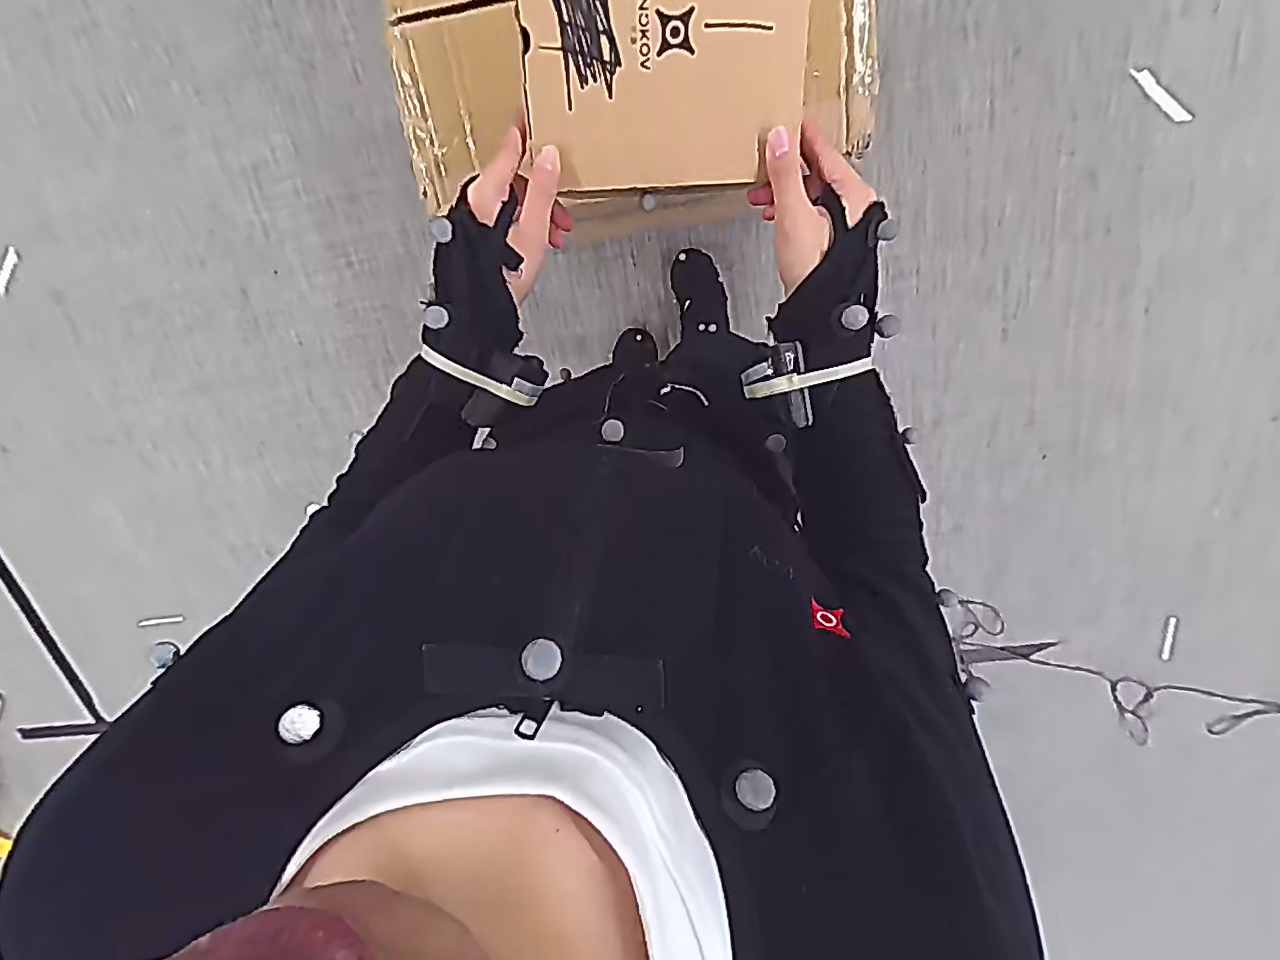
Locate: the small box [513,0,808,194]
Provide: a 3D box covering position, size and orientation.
[{"bbox_3d":[0.015,-0.307,0.392,0.179,0.176,0.168,-1,116,3],"label":"small box"}]
